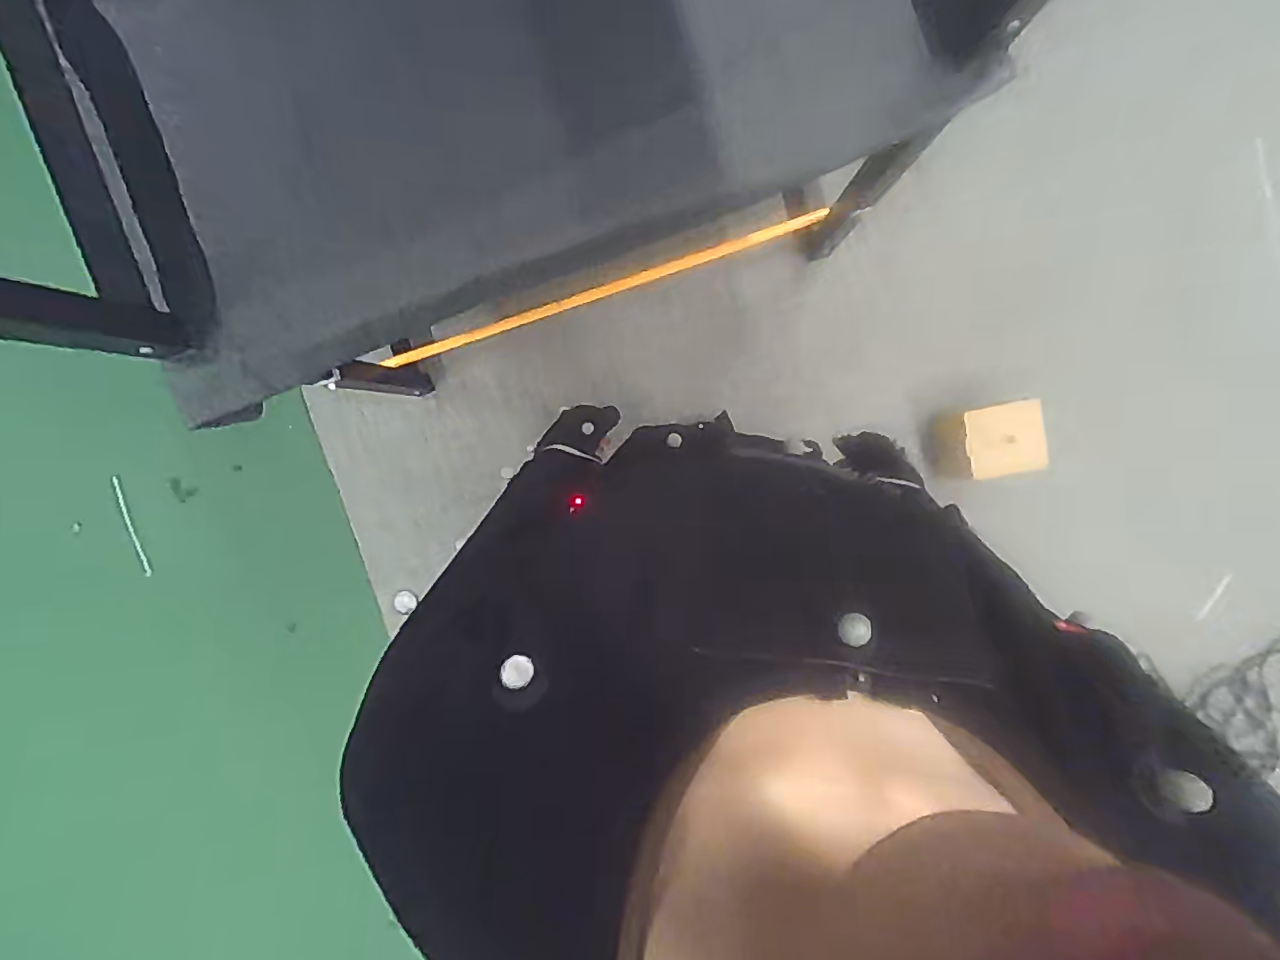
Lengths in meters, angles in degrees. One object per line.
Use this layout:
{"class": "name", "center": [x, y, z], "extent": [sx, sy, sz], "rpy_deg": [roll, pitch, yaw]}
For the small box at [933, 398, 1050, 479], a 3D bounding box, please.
{"class": "small box", "center": [0.859, -0.105, 1.335], "extent": [0.179, 0.176, 0.168], "rpy_deg": [-11, 94, 6]}
